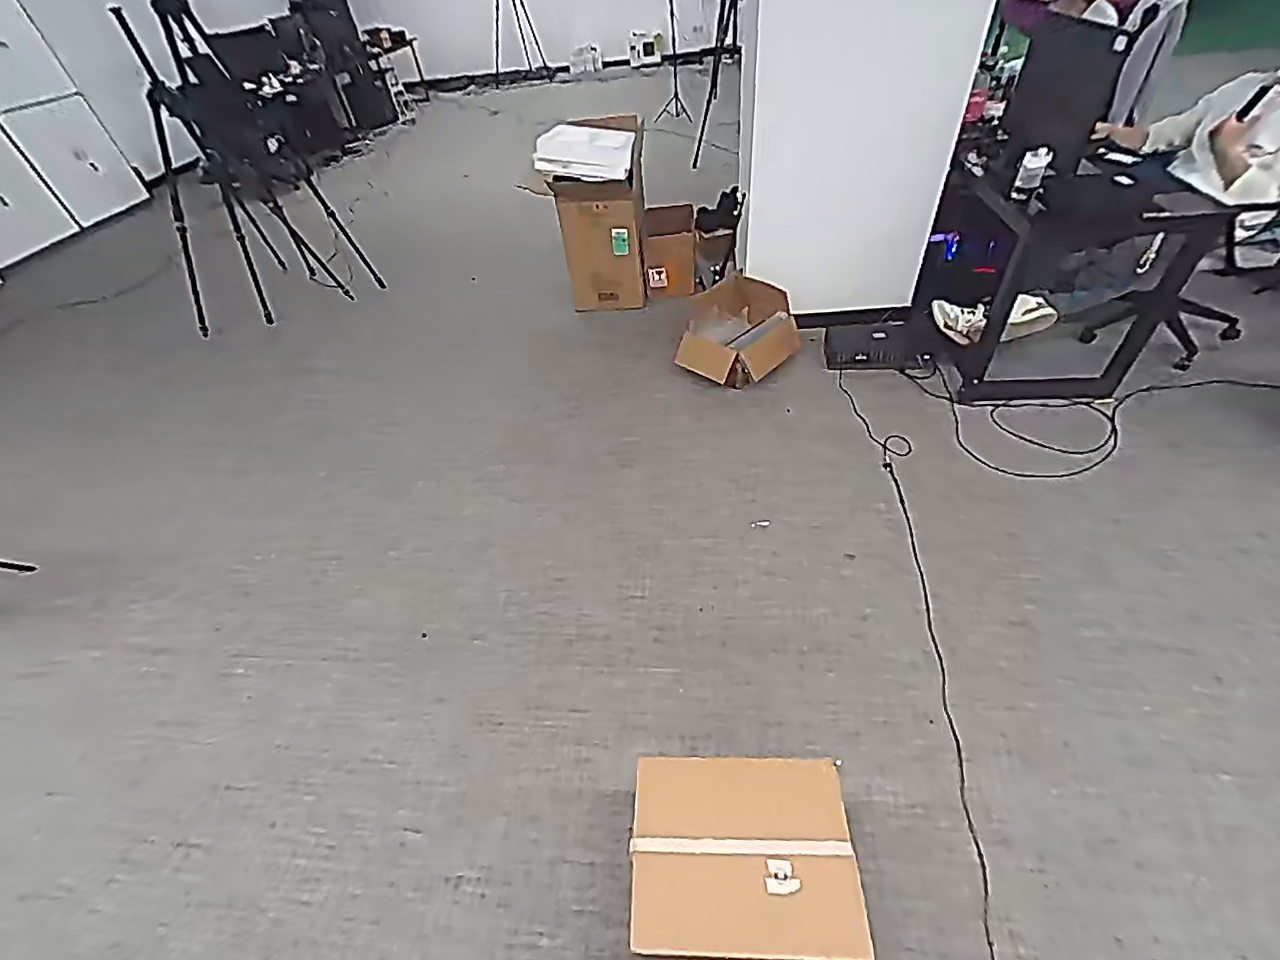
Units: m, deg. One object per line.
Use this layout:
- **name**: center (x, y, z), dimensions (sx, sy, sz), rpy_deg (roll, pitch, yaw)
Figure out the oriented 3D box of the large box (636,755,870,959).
- **large box**: center (0.204, 0.790, 1.123), dimensions (0.408, 0.320, 0.320), rpy_deg (-2, 46, 5)
